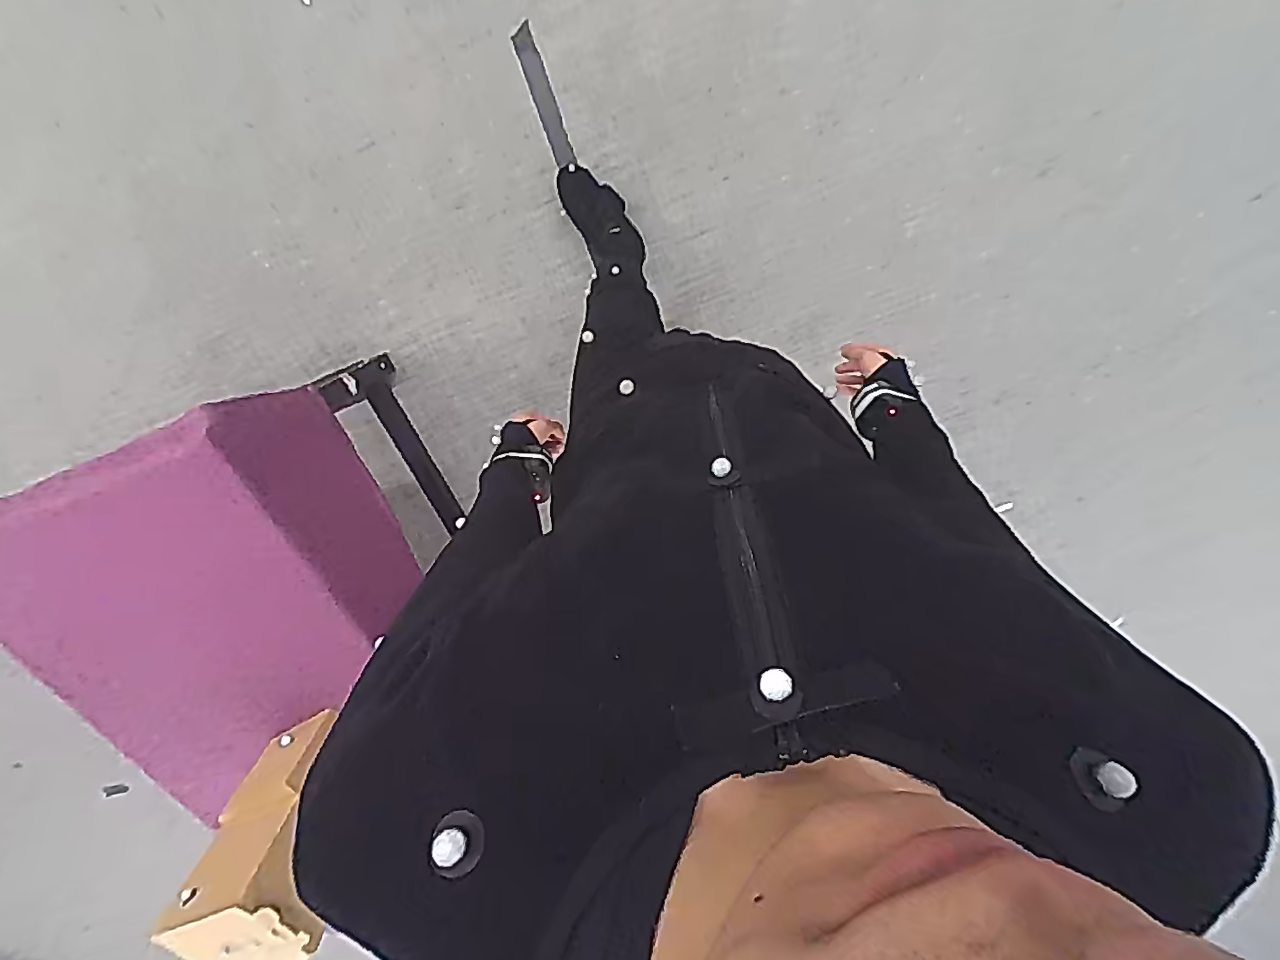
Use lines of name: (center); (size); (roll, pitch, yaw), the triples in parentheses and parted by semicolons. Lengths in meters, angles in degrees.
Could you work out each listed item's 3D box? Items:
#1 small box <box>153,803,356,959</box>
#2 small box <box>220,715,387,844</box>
small box: (-0.616, 0.679, 0.892); (0.179, 0.176, 0.168); (-25, 114, 8)
small box: (-0.625, 0.591, 1.033); (0.168, 0.176, 0.179); (-30, 112, 10)
